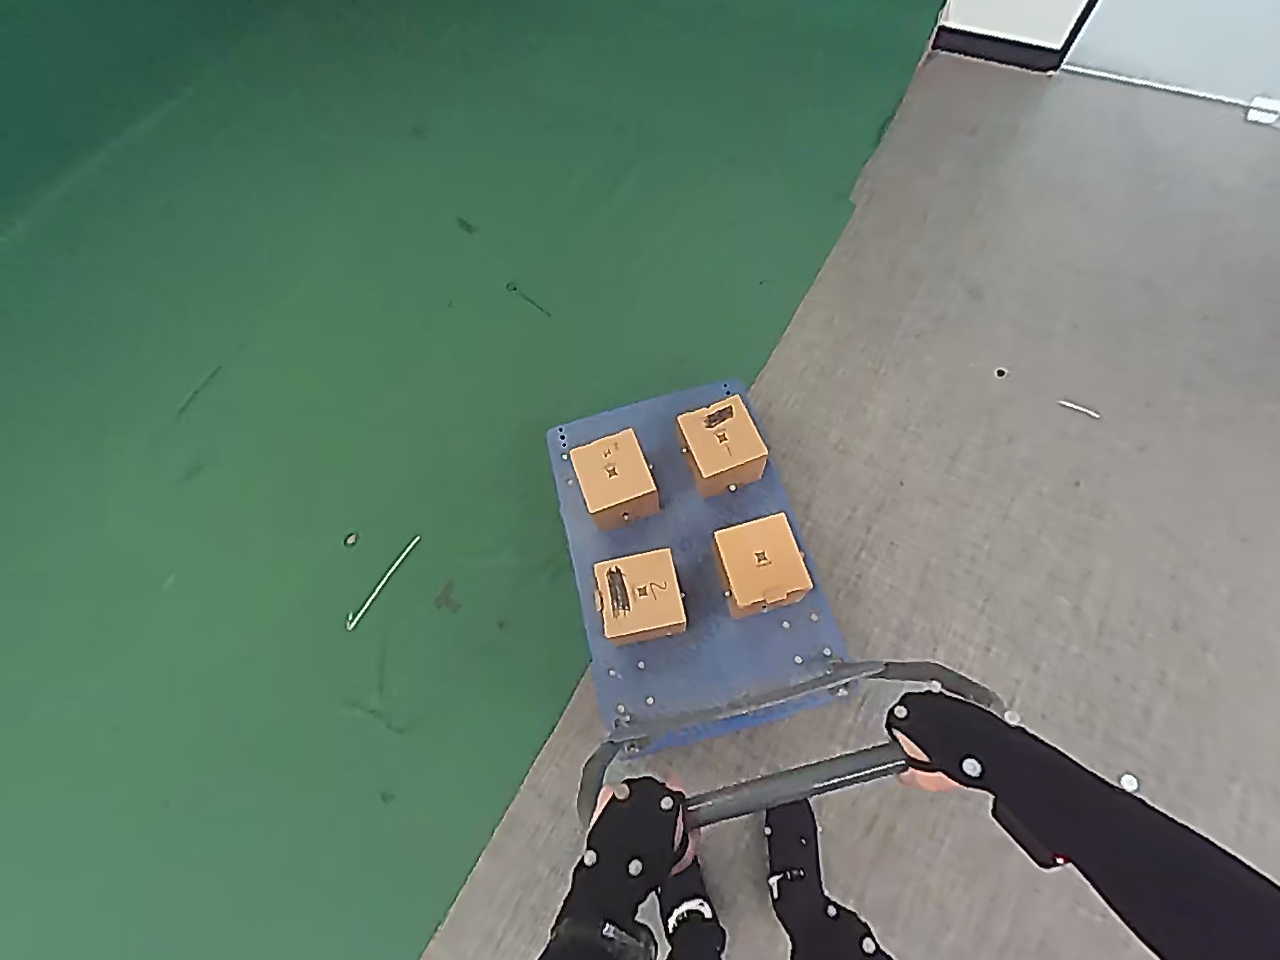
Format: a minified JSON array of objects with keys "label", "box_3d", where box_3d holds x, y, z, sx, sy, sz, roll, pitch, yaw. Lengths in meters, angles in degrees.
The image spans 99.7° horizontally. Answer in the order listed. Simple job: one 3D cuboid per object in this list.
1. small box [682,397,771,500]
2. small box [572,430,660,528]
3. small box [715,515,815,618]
[{"label":"small box","box_3d":[0.208,-0.074,1.352,0.168,0.176,0.179,-20,69,-3]},{"label":"small box","box_3d":[-0.054,0.007,1.342,0.168,0.176,0.179,-19,68,-4]},{"label":"small box","box_3d":[0.275,0.203,1.236,0.168,0.176,0.179,-15,68,-1]}]
